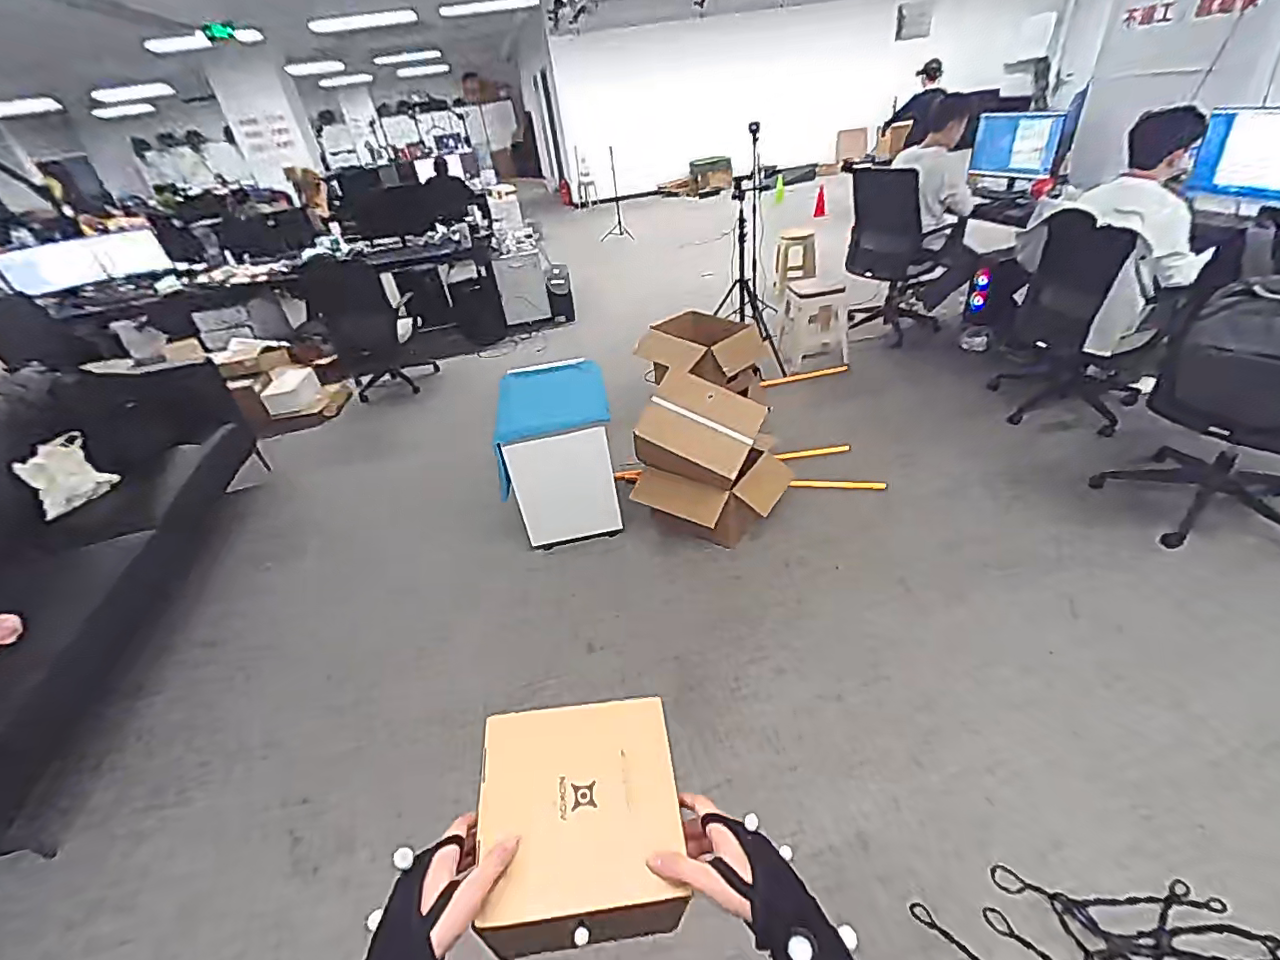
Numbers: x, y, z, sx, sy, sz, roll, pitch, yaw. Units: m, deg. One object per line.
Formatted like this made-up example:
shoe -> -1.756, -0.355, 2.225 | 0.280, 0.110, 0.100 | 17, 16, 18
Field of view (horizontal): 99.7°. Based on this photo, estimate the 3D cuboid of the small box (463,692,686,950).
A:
small box -> -0.057, 0.331, 0.527 | 0.179, 0.176, 0.168 | -4, 43, -6
